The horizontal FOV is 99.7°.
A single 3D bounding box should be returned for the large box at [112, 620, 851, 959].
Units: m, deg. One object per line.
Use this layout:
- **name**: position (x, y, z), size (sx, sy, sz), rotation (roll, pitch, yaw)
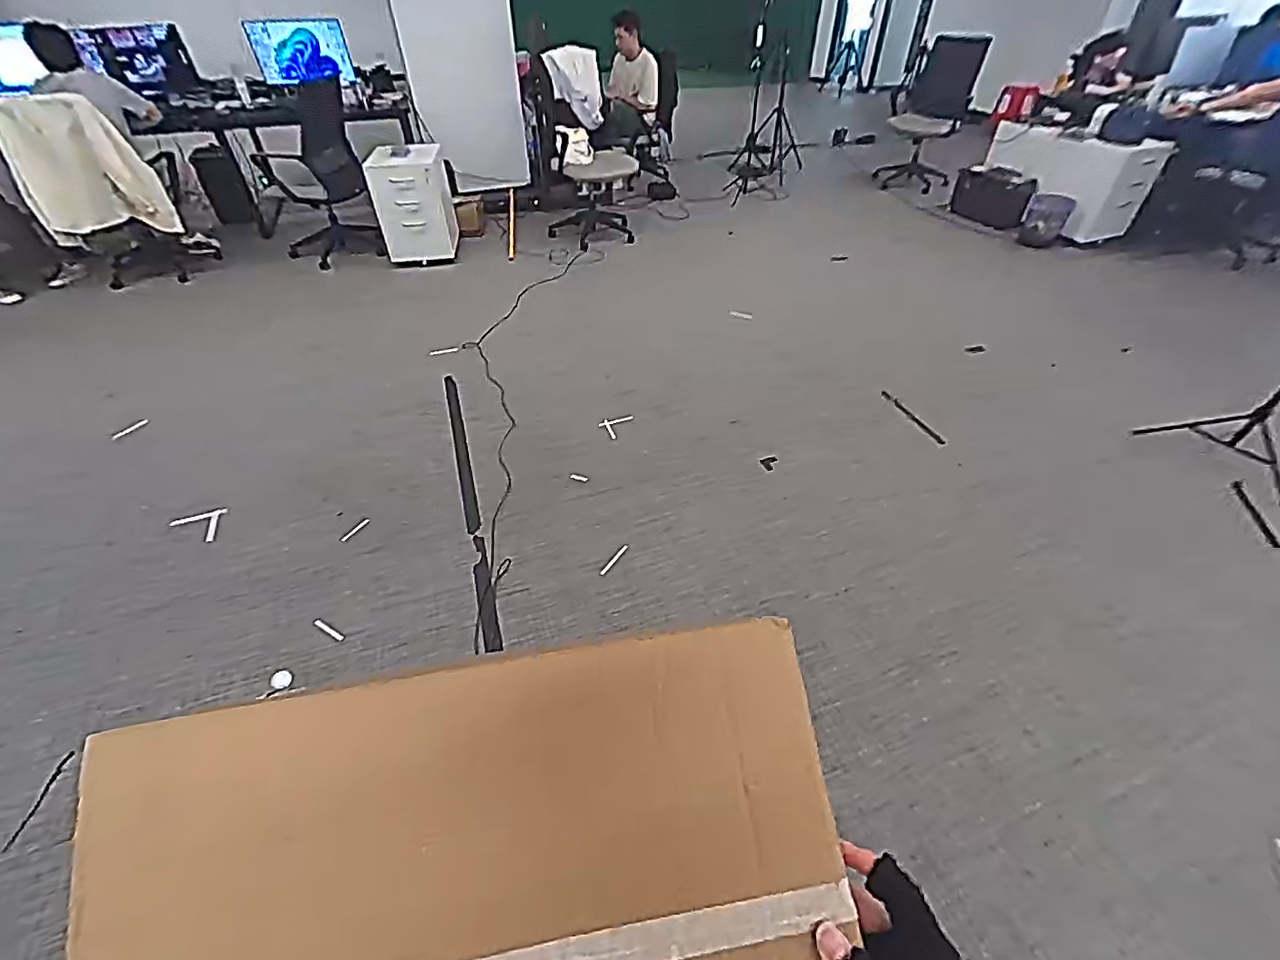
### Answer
- **large box**: position (-0.090, 0.307, 0.439), size (0.408, 0.320, 0.320), rotation (-8, 76, -5)
